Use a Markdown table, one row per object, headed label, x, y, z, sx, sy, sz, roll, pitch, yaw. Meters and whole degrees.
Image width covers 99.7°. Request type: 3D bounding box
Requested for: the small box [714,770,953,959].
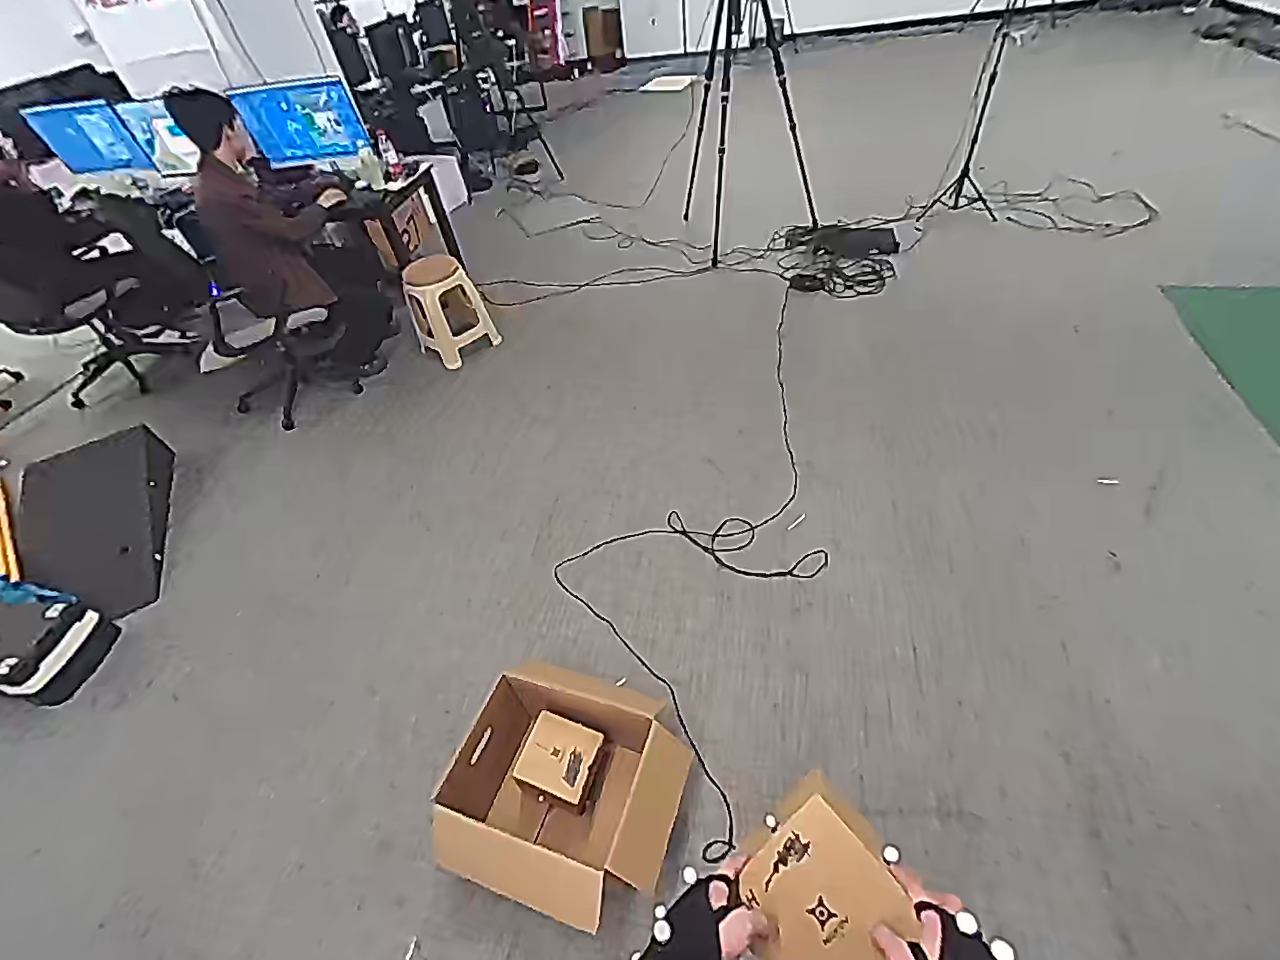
| label | x | y | z | sx | sy | sz | roll | pitch | yaw |
| --- | --- | --- | --- | --- | --- | --- | --- | --- | --- |
| small box | 0.215 | 0.473 | 0.627 | 0.168 | 0.176 | 0.179 | -44 | 65 | -1 |
